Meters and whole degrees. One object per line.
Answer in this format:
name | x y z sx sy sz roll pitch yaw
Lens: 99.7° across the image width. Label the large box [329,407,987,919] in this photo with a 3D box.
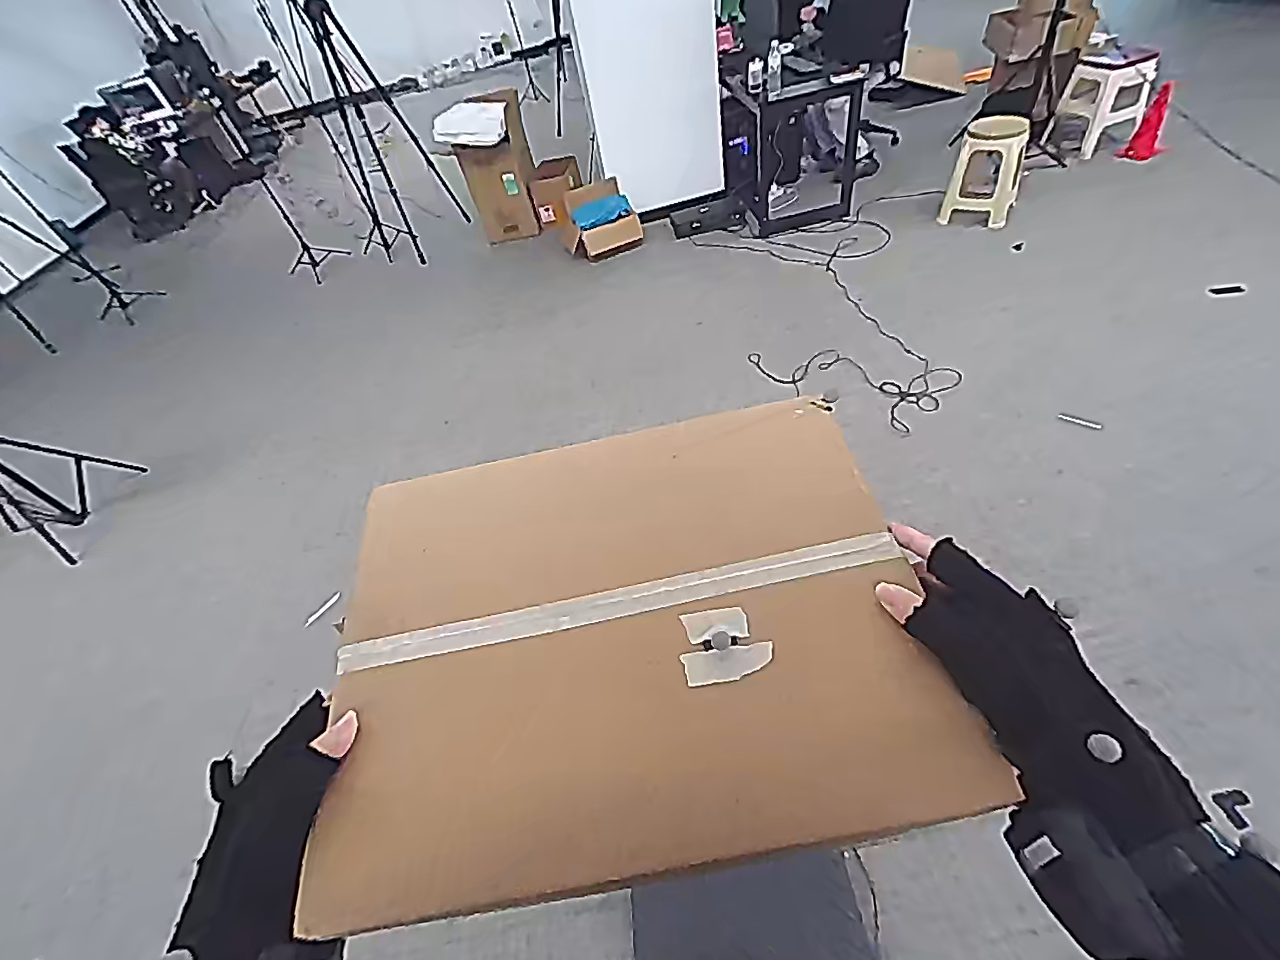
large box | 0.005 0.181 0.521 0.408 0.320 0.320 -12 54 1
